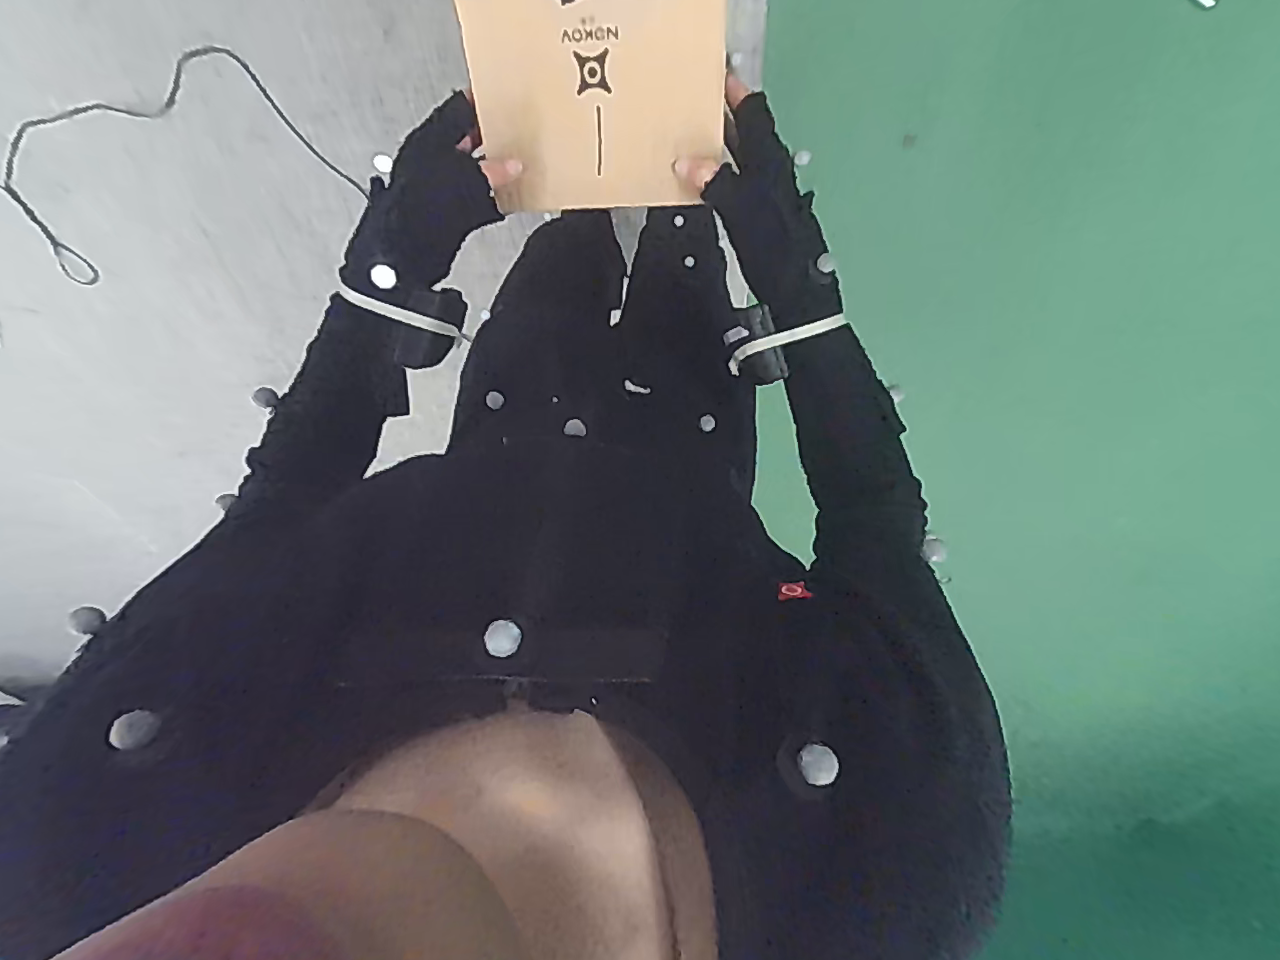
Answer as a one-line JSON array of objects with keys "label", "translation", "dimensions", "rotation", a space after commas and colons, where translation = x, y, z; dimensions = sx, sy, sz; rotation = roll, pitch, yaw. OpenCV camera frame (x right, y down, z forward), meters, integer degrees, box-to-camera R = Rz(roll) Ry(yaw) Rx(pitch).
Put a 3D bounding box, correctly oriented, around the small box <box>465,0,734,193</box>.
[{"label": "small box", "translation": [-0.018, -0.324, 0.396], "dimensions": [0.168, 0.176, 0.179], "rotation": [2, 128, 6]}]
